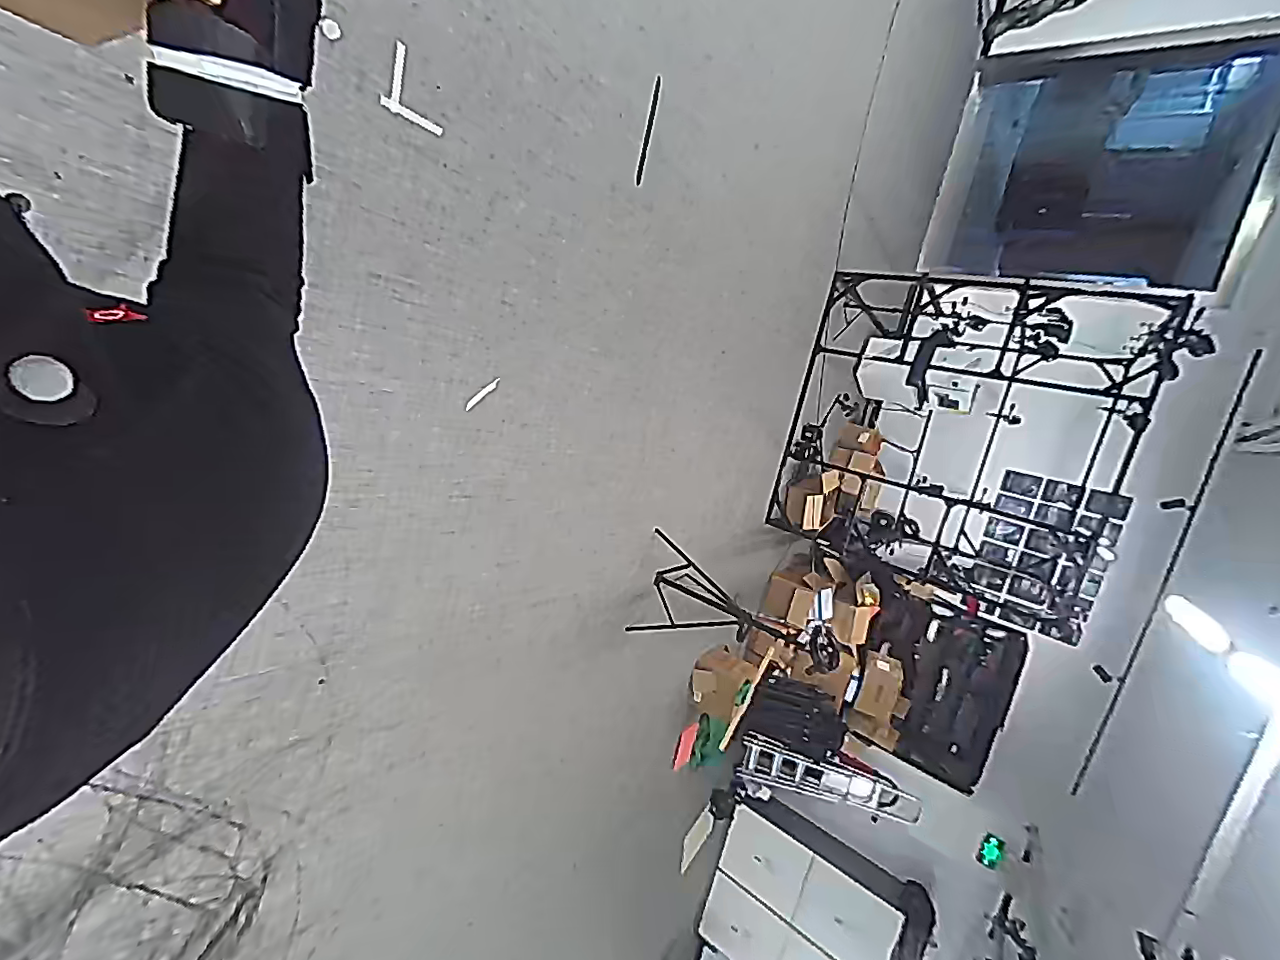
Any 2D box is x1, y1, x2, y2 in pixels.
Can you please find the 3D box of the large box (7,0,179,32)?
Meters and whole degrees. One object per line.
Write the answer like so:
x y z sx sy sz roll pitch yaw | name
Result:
-0.438 -0.472 0.201 0.408 0.320 0.320 -3 113 -56 | large box
